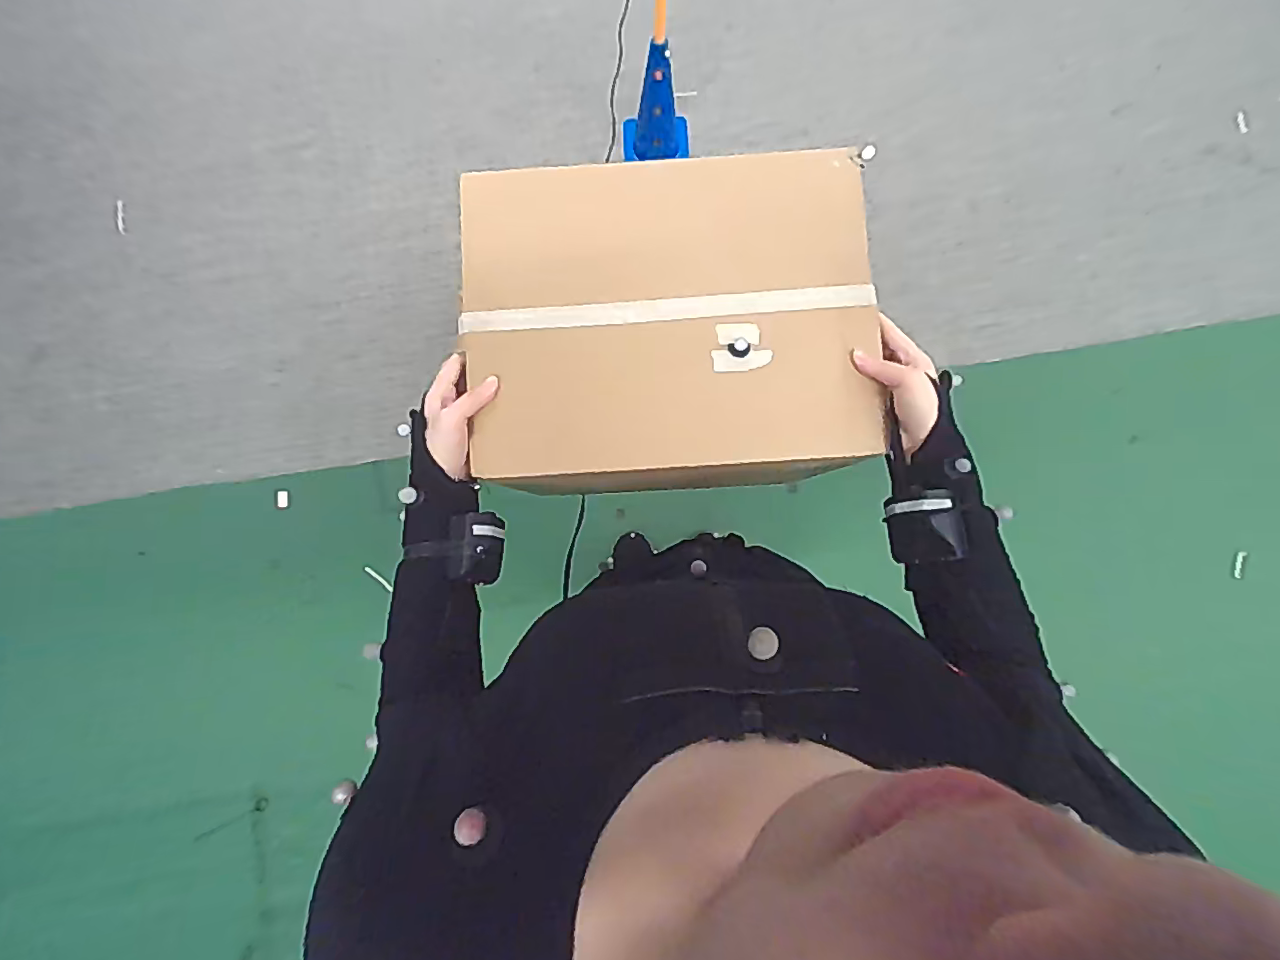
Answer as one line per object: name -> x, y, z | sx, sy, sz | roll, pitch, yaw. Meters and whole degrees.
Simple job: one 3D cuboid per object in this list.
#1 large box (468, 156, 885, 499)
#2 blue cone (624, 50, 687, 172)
large box -> 0.030, -0.153, 0.688 | 0.408, 0.320, 0.320 | -4, 85, 0
blue cone -> 0.047, -1.028, 1.510 | 0.193, 0.380, 0.192 | -1, 83, 0
